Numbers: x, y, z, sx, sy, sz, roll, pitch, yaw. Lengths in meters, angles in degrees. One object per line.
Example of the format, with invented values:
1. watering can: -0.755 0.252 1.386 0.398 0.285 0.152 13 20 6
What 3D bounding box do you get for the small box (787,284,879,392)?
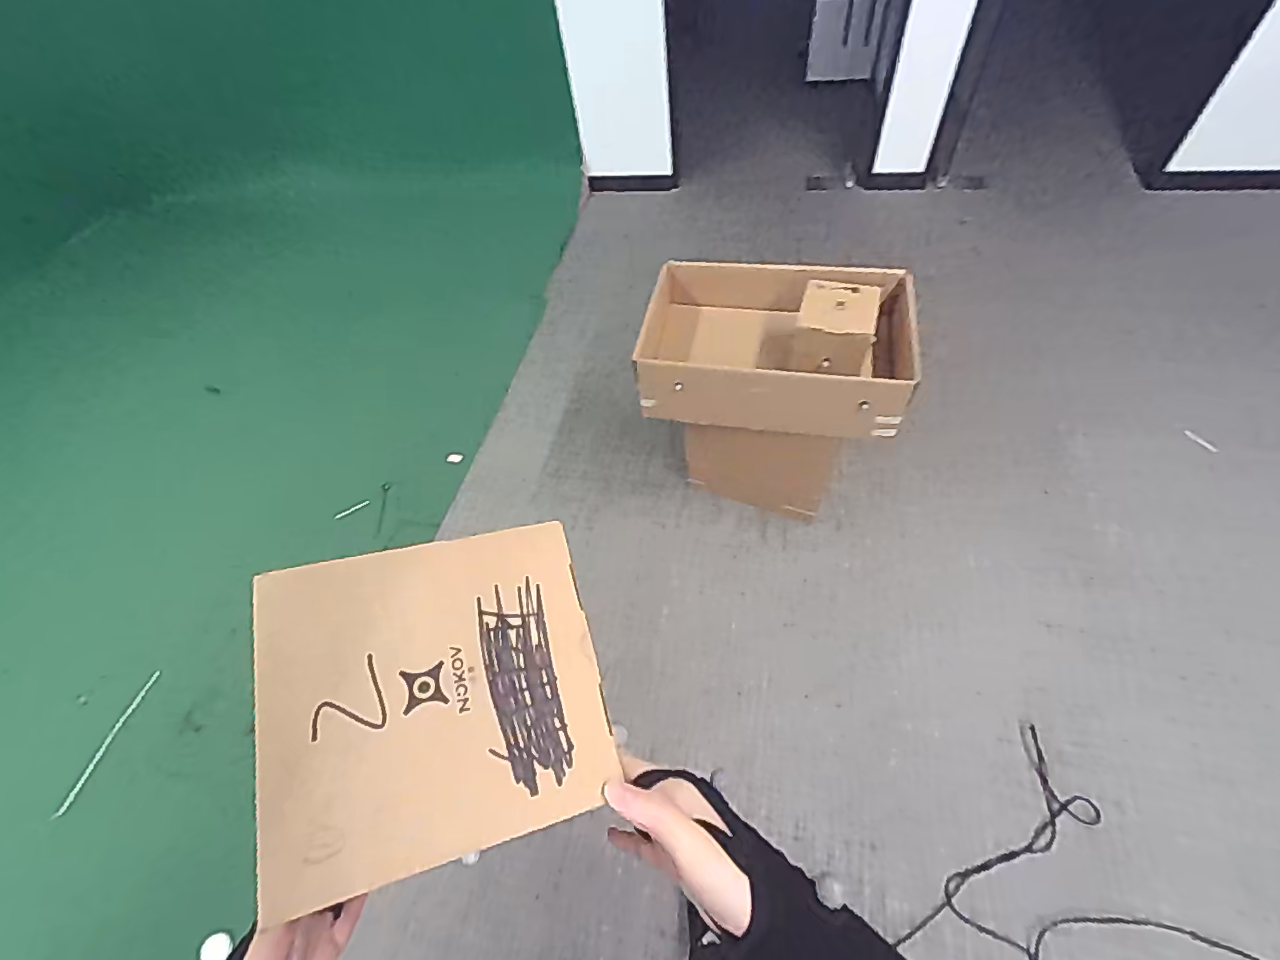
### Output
1. small box: 0.454 -0.336 1.289 0.168 0.176 0.179 14 58 15
